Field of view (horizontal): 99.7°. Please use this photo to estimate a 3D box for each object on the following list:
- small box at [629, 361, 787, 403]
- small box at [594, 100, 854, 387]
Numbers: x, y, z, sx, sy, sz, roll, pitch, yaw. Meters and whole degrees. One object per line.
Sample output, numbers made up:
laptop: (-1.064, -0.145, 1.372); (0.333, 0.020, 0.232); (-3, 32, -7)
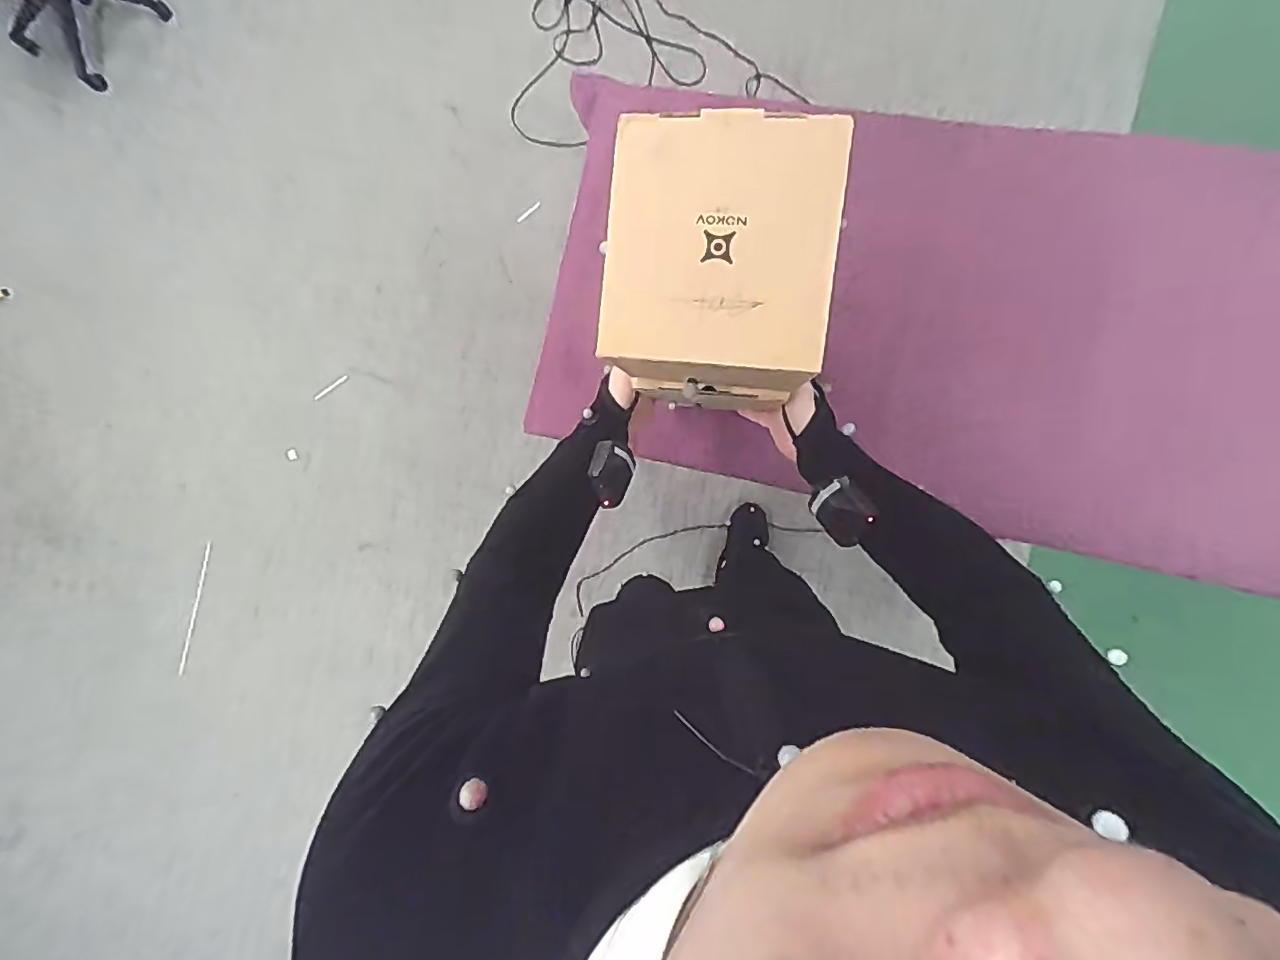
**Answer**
small box: (0.090, -0.185, 0.621); (0.168, 0.176, 0.179); (7, 94, 9)
small box: (0.068, -0.181, 0.459); (0.168, 0.176, 0.179); (7, 96, 10)
